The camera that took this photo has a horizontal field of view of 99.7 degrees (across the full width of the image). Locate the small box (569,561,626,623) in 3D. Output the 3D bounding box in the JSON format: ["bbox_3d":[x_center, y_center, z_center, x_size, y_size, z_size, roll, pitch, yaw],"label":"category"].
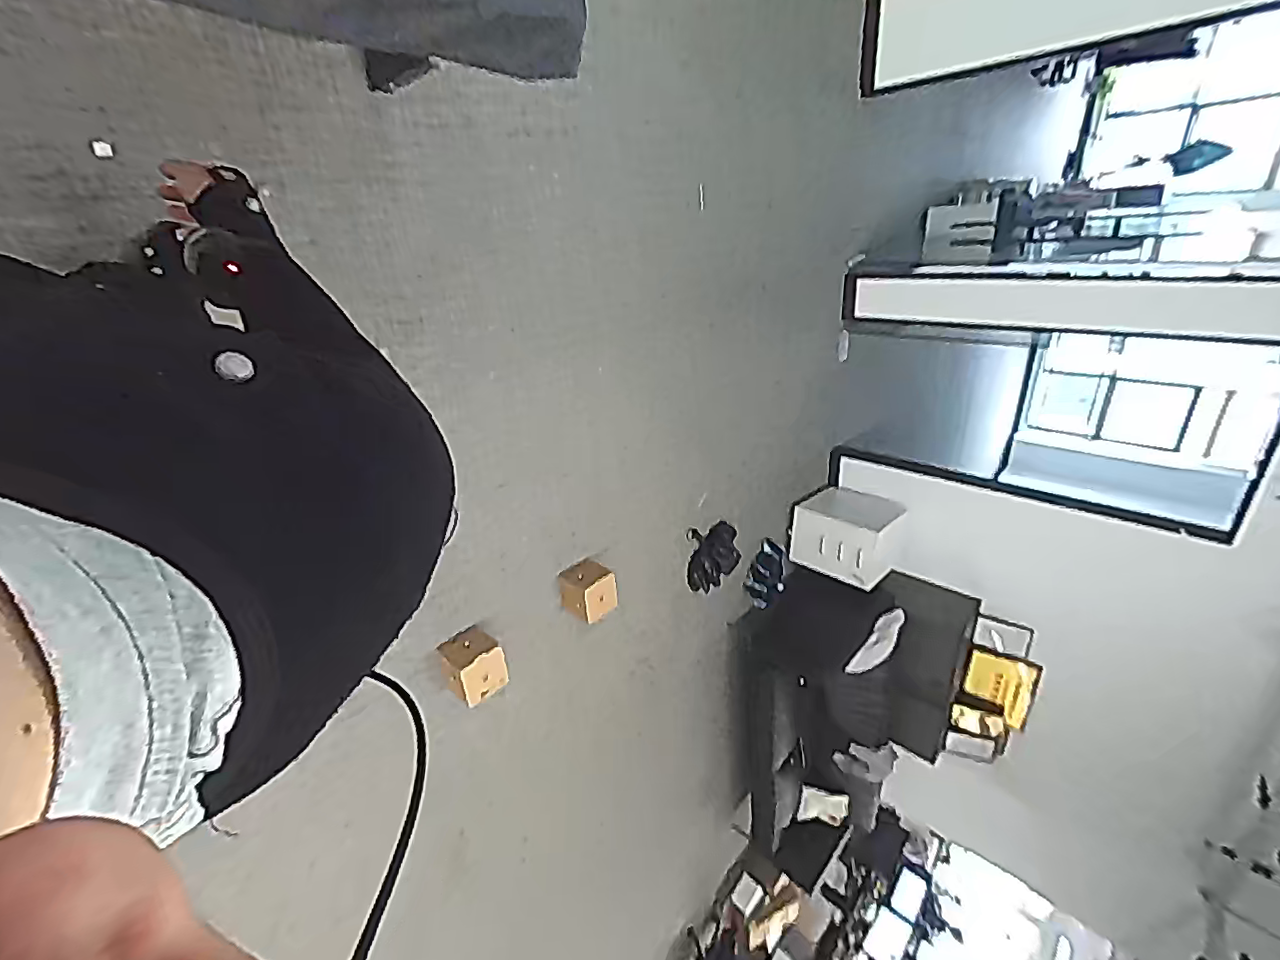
[{"bbox_3d":[-0.180,0.458,2.257,0.168,0.176,0.179,-29,125,-38],"label":"small box"}]

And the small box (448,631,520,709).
[{"bbox_3d":[-0.552,0.659,1.911,0.168,0.176,0.179,-28,123,-39],"label":"small box"}]
